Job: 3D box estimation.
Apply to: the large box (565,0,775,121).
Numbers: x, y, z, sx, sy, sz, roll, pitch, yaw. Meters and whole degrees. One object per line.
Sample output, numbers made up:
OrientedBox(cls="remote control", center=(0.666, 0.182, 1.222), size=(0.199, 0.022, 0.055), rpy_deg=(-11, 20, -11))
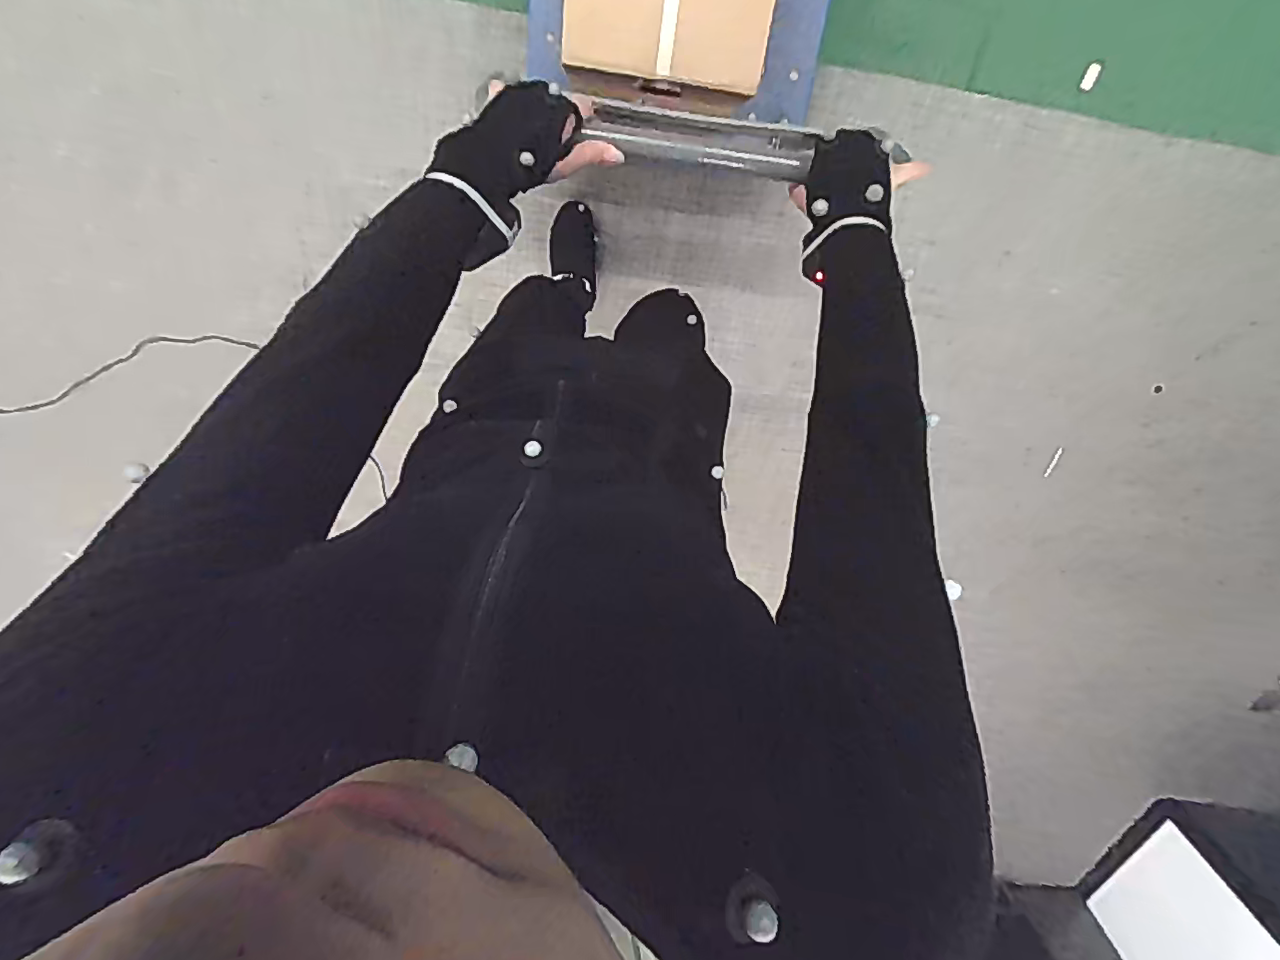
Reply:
OrientedBox(cls="large box", center=(0.056, -0.871, 0.898), size=(0.320, 0.320, 0.408), rpy_deg=(6, 116, -5))
